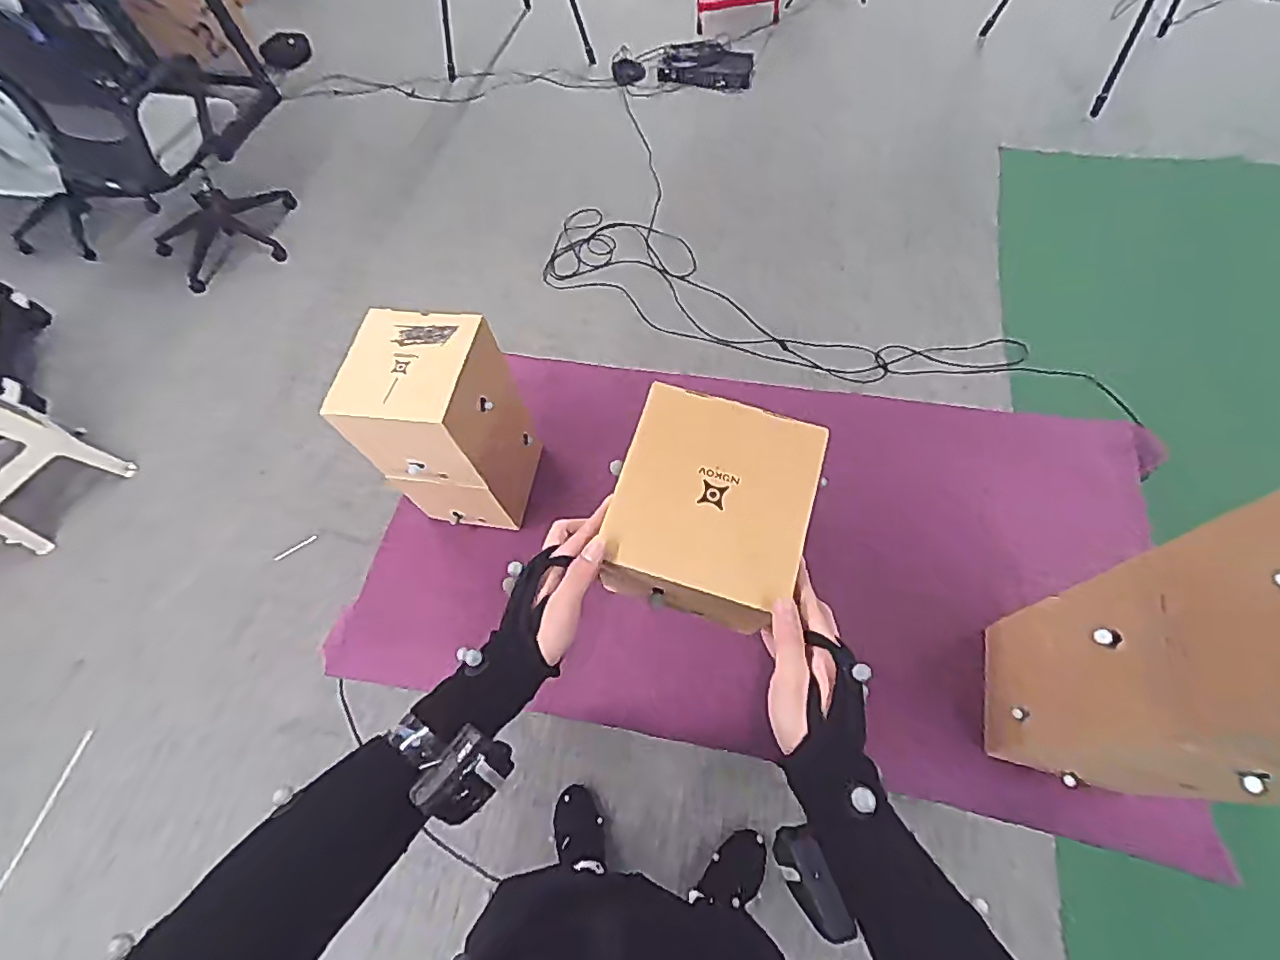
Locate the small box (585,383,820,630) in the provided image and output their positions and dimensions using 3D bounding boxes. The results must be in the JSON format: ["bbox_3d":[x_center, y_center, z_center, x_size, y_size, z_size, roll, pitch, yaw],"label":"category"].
[{"bbox_3d":[0.059,0.038,0.534,0.168,0.176,0.179,16,70,7],"label":"small box"}]

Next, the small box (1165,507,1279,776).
[{"bbox_3d":[0.521,0.117,0.375,0.168,0.176,0.179,13,64,13],"label":"small box"}]

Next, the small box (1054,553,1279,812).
[{"bbox_3d":[0.534,0.197,0.519,0.168,0.176,0.179,12,63,13],"label":"small box"}]

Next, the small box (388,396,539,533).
[{"bbox_3d":[-0.279,-0.030,0.905,0.168,0.176,0.179,6,64,9],"label":"small box"}]

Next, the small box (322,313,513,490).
[{"bbox_3d":[-0.292,-0.107,0.760,0.168,0.176,0.179,6,63,9],"label":"small box"}]
